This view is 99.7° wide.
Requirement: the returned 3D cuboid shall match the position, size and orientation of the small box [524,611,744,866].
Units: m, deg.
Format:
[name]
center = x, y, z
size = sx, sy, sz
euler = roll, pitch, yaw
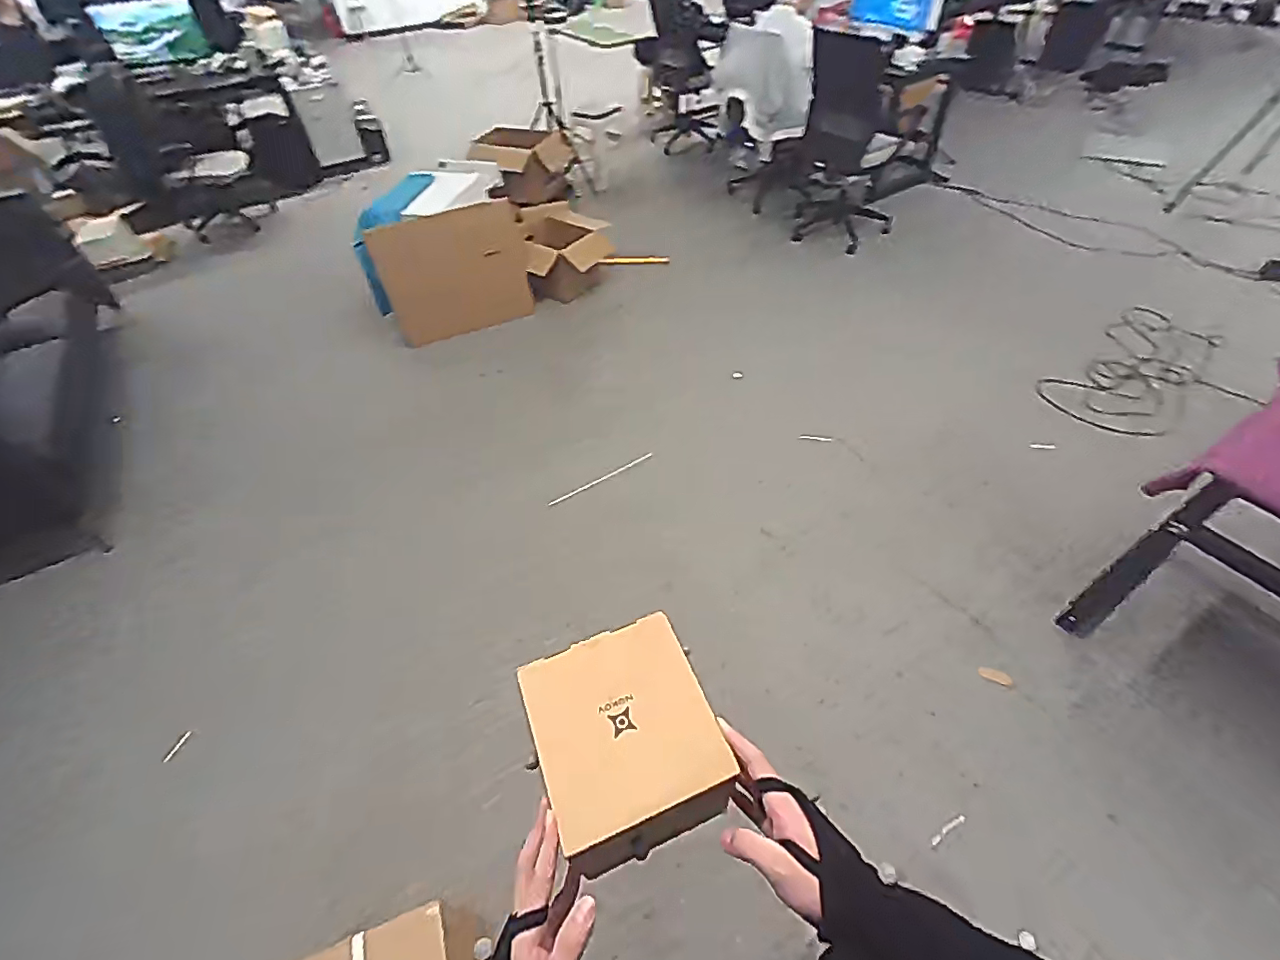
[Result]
[small box]
center = -0.007, 0.276, 0.571
size = 0.168, 0.176, 0.179
euler = -18, 49, -13
